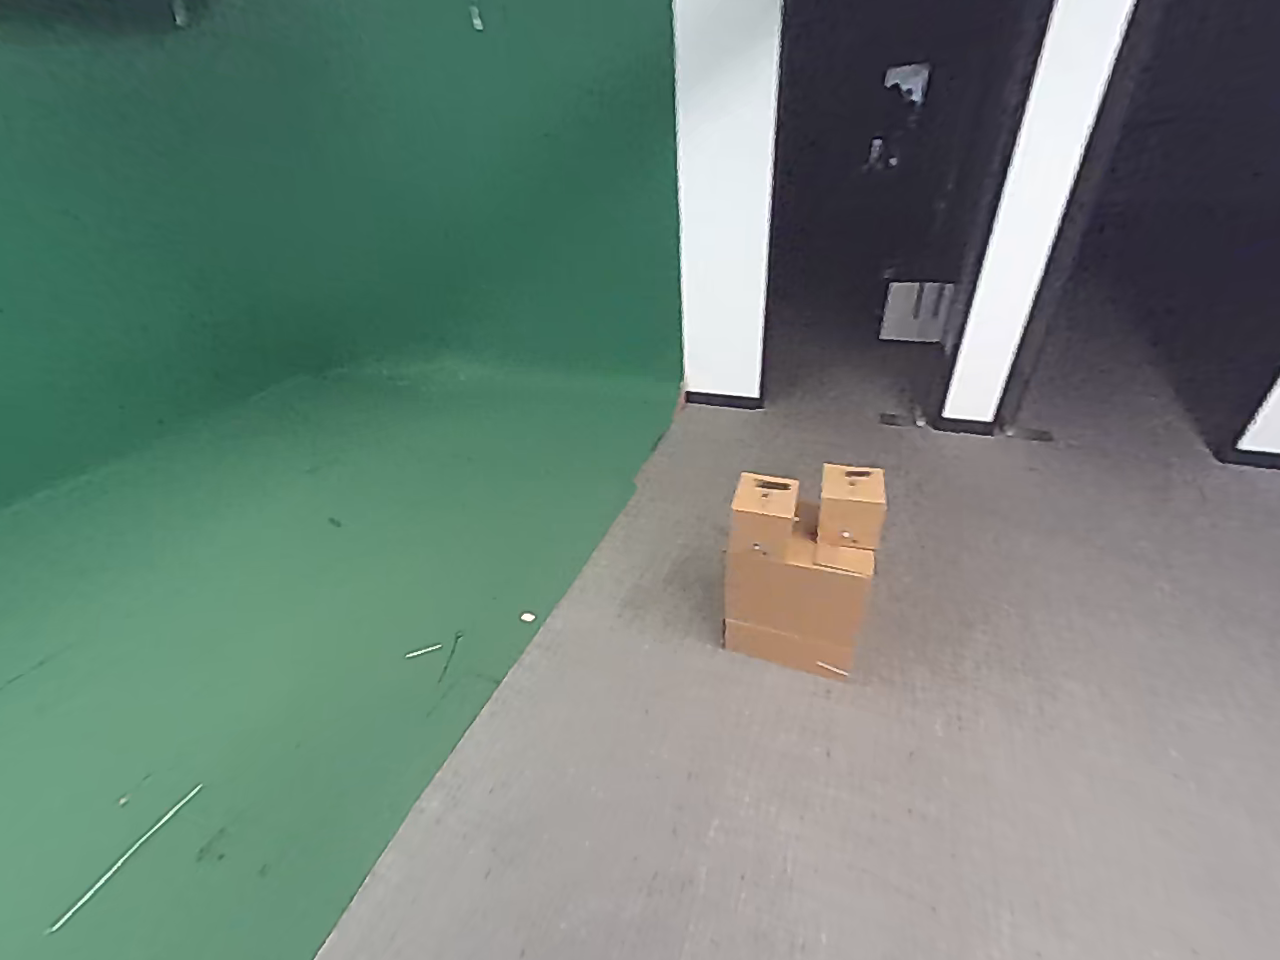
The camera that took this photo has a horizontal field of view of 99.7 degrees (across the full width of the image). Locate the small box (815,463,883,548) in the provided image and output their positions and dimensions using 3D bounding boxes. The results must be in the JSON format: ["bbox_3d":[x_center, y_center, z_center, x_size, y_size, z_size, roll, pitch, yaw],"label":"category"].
[{"bbox_3d":[0.607,0.071,1.575,0.168,0.176,0.179,6,37,18],"label":"small box"}]
